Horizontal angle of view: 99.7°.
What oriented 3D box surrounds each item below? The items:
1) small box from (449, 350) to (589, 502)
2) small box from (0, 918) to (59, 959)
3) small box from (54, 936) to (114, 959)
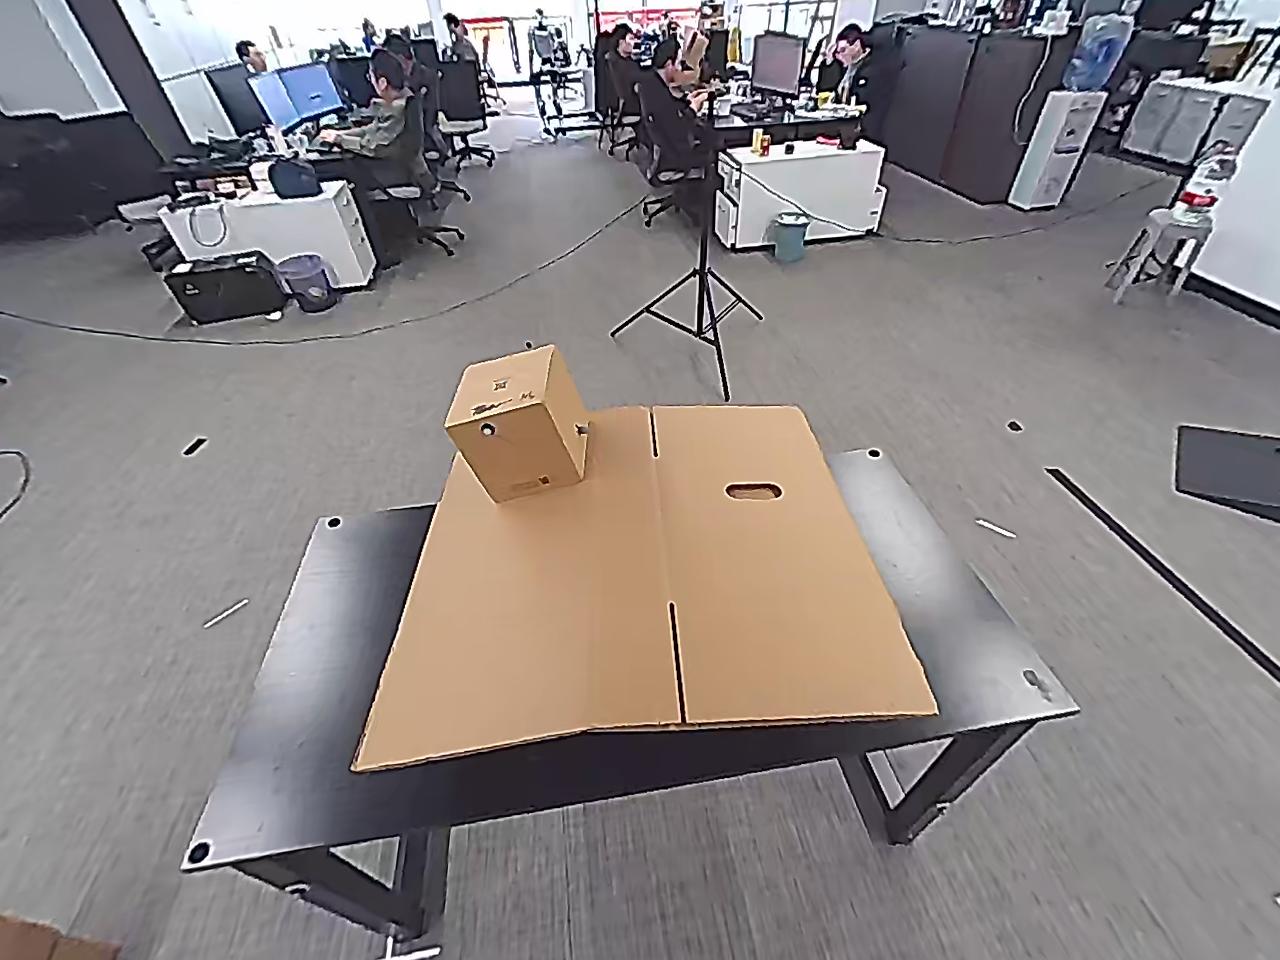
[{"bbox_3d":[-0.192,-0.089,0.920,0.168,0.176,0.179,-14,40,10],"label":"small box"},{"bbox_3d":[-1.209,0.916,0.955,0.168,0.176,0.179,-12,42,-11],"label":"small box"},{"bbox_3d":[-1.200,1.040,1.060,0.168,0.176,0.179,-10,43,-8],"label":"small box"}]
